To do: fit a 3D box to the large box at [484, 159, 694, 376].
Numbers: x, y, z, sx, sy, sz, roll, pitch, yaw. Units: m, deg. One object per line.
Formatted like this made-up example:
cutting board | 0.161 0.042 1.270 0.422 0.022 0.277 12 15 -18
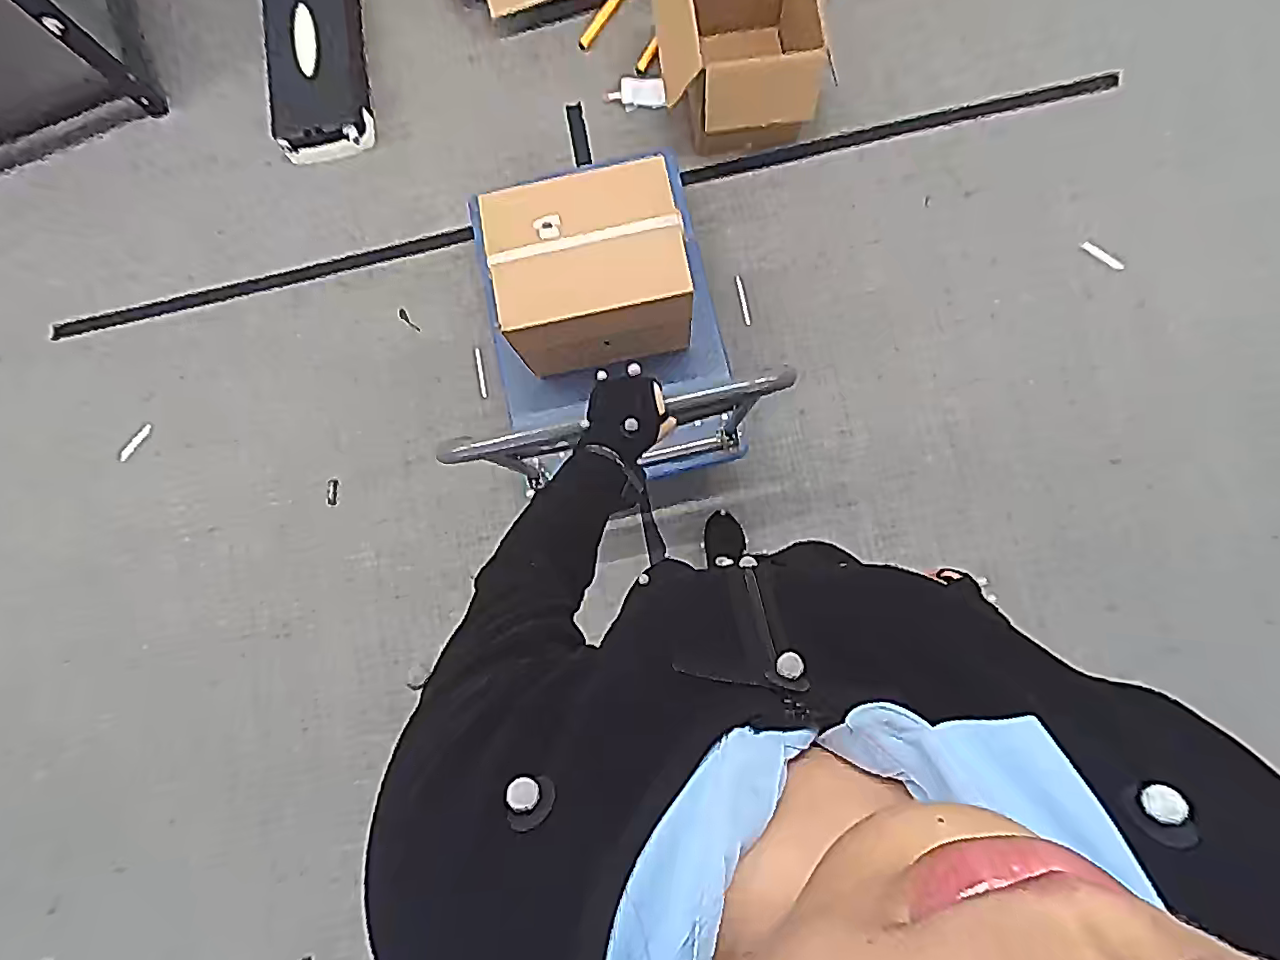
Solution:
large box | -0.101 -0.474 1.278 0.408 0.320 0.320 -12 81 3
